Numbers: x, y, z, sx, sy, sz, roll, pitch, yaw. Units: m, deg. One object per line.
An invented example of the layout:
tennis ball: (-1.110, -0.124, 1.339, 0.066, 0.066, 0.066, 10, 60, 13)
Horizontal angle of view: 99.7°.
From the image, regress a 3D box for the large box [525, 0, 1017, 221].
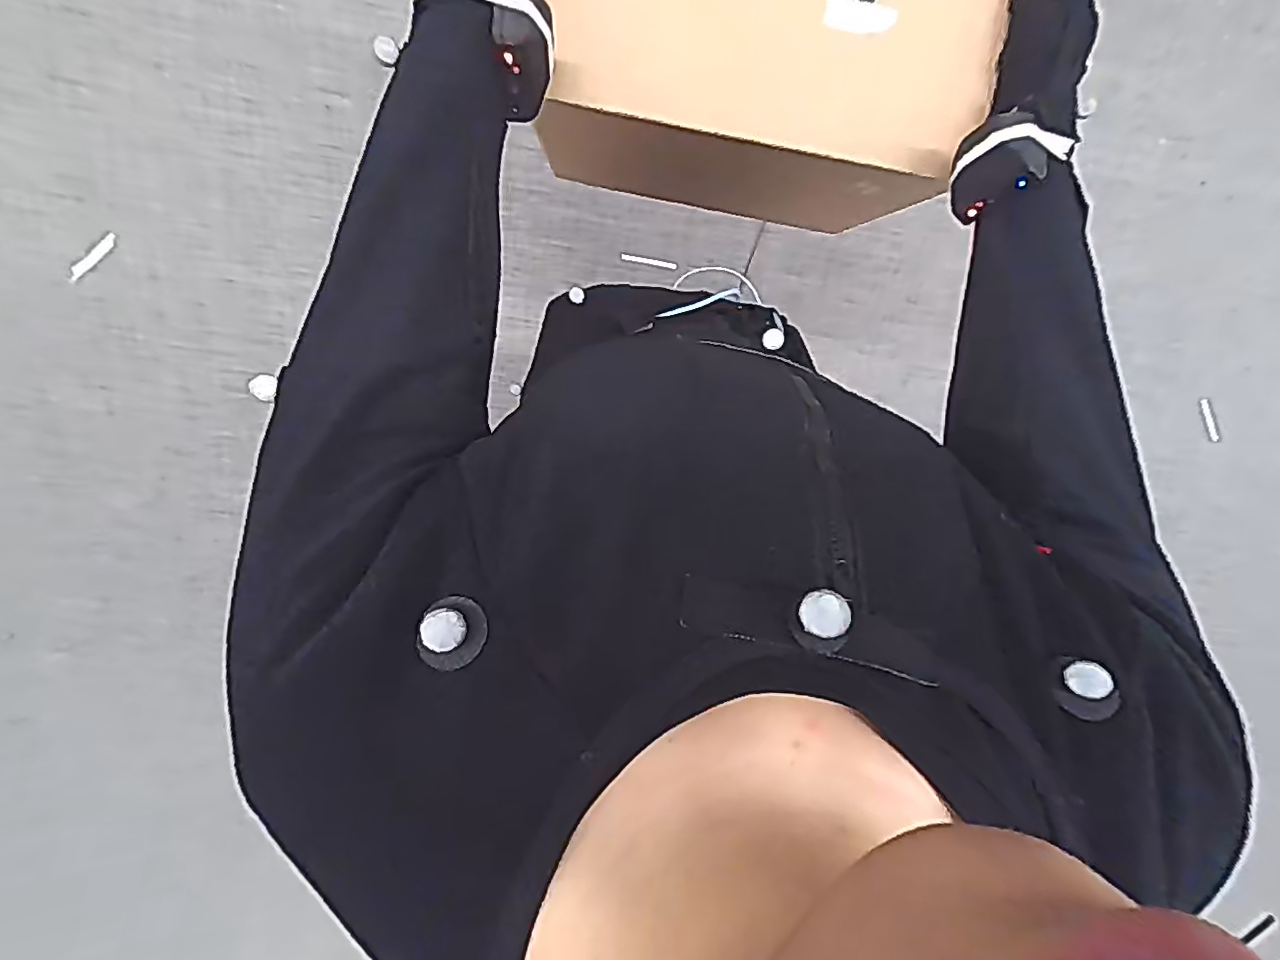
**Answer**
large box: (0.114, -0.492, 0.567, 0.408, 0.320, 0.320, 9, 108, -5)
